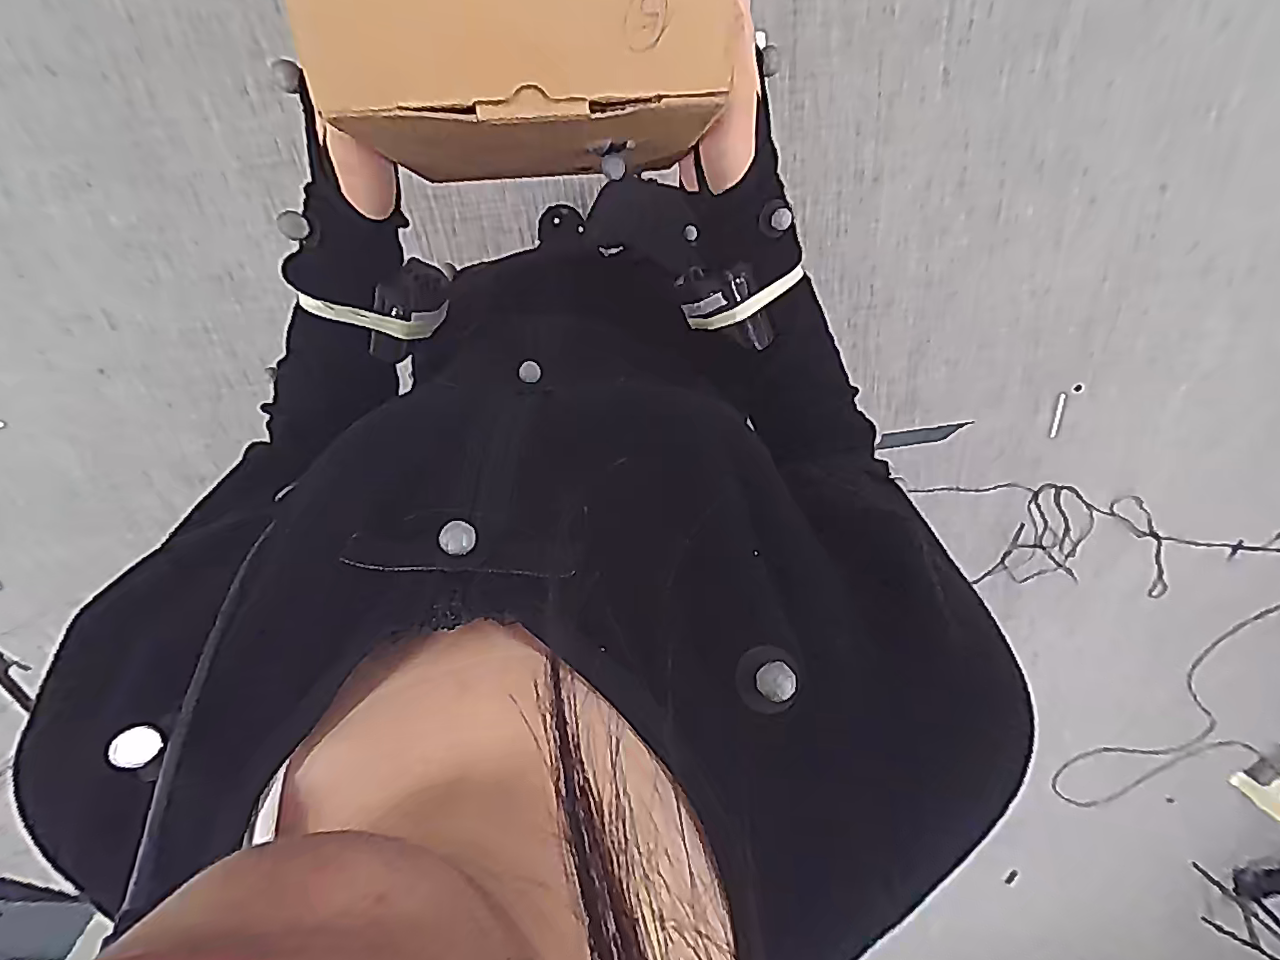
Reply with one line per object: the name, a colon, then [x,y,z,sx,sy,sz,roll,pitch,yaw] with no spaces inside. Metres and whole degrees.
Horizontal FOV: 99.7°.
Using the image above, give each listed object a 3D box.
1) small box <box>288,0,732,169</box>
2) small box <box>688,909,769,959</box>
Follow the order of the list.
small box: [-0.057,-0.257,0.254,0.168,0.176,0.179,-6,111,-5]
small box: [0.209,1.133,1.257,0.168,0.176,0.179,-8,117,-3]
